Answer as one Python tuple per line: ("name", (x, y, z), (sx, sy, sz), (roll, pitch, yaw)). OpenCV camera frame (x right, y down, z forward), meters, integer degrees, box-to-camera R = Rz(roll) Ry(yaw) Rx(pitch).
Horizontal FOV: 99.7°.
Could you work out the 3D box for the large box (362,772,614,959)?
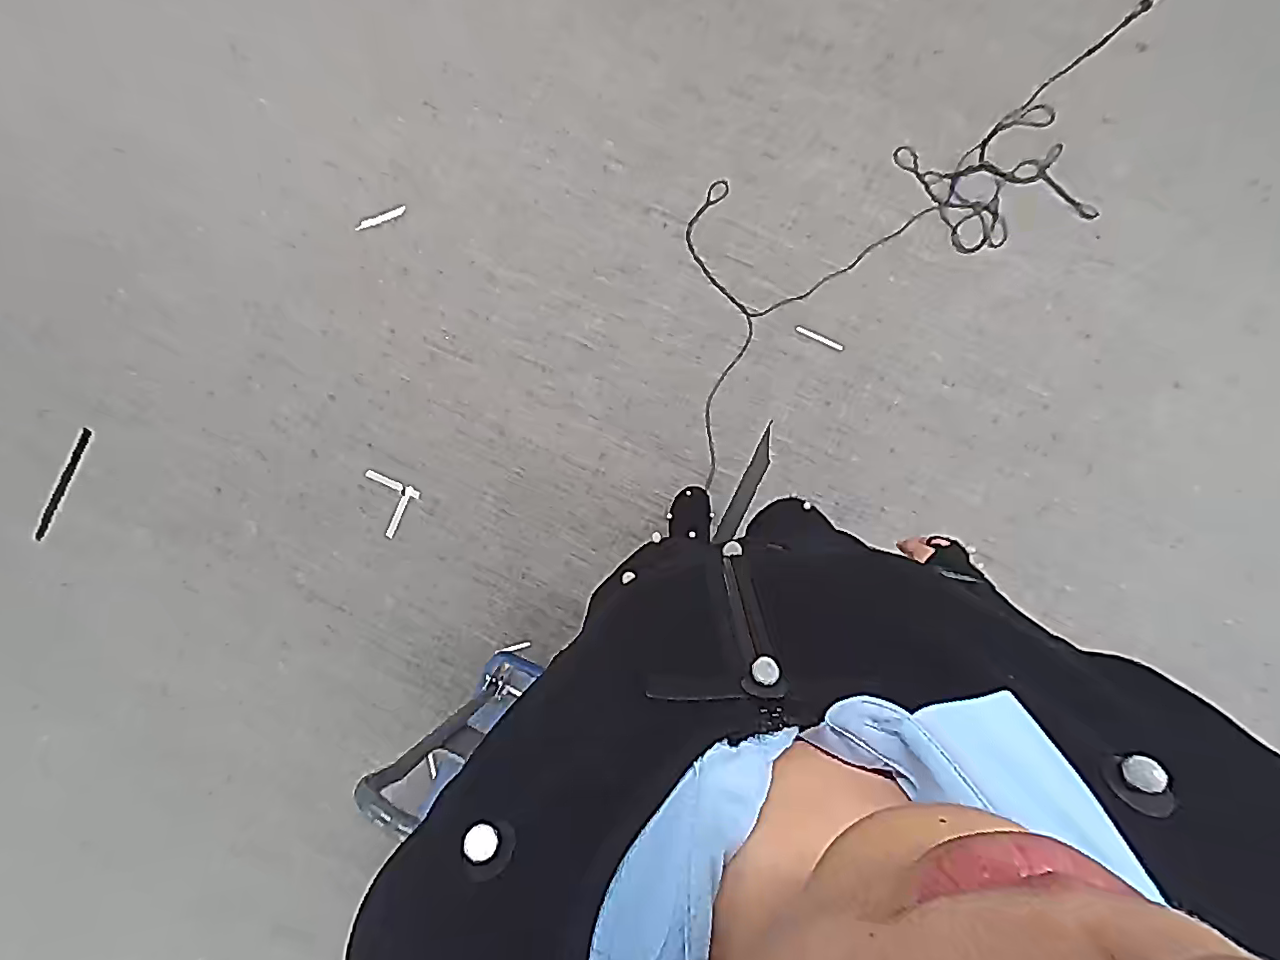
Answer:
("large box", (-0.310, 0.928, 1.176), (0.408, 0.320, 0.320), (26, 89, 4))
